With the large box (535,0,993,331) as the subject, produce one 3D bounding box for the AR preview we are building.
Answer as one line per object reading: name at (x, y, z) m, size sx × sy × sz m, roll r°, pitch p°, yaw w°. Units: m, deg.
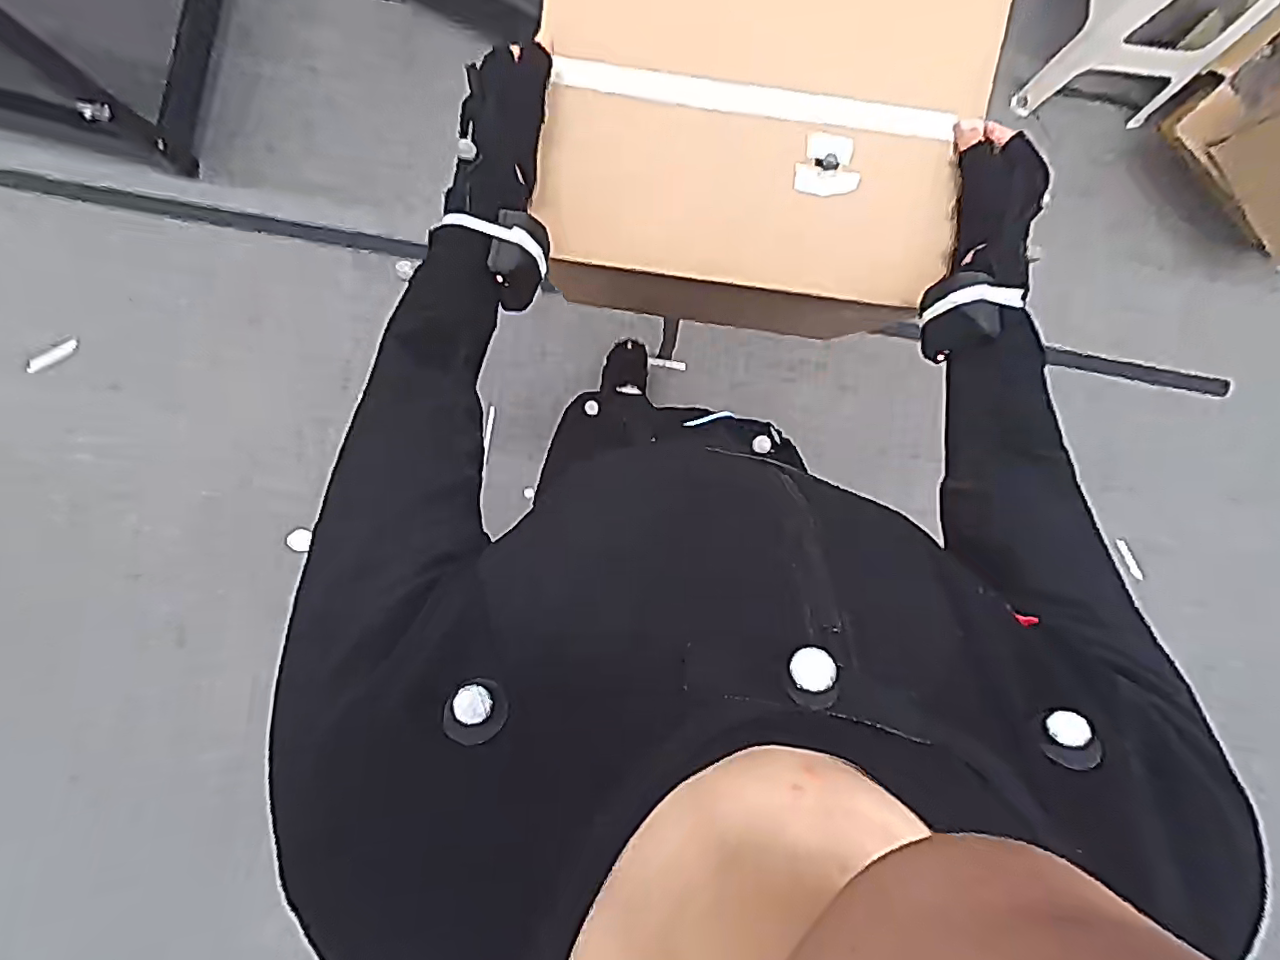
large box at (0.107, -0.374, 0.649) m, size 0.408 × 0.320 × 0.320 m, roll 7°, pitch 100°, yaw -2°
